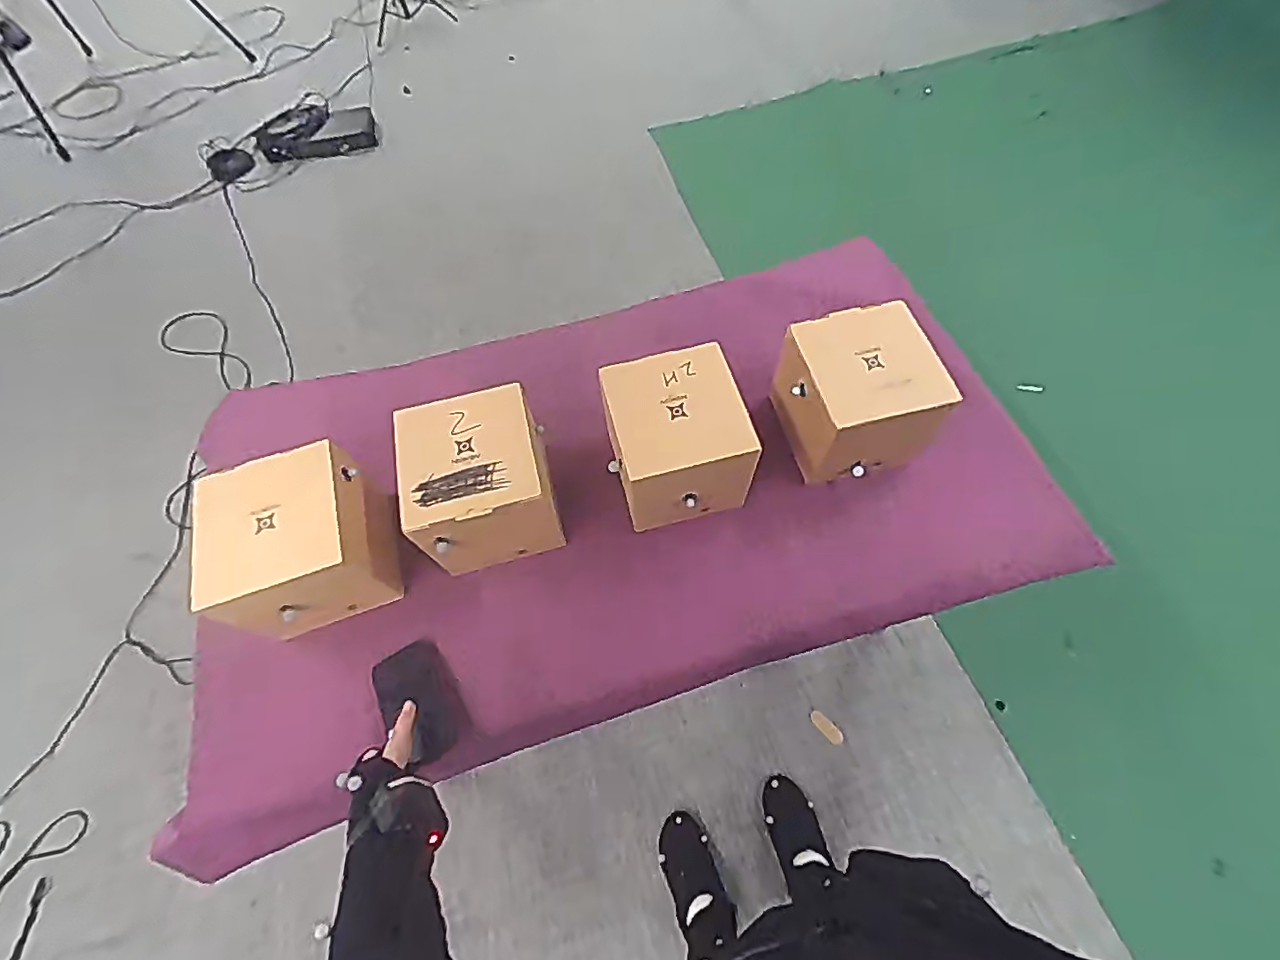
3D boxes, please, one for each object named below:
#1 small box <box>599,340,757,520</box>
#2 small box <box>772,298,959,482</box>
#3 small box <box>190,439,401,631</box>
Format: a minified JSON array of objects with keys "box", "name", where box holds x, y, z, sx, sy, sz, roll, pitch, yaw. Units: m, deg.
[{"box":[0.047,-0.057,0.745,0.168,0.176,0.179,-14,63,-5],"name":"small box"},{"box":[0.299,-0.122,0.767,0.168,0.176,0.179,-13,63,-3],"name":"small box"},{"box":[-0.432,0.082,0.699,0.168,0.176,0.179,-19,63,-7],"name":"small box"}]
